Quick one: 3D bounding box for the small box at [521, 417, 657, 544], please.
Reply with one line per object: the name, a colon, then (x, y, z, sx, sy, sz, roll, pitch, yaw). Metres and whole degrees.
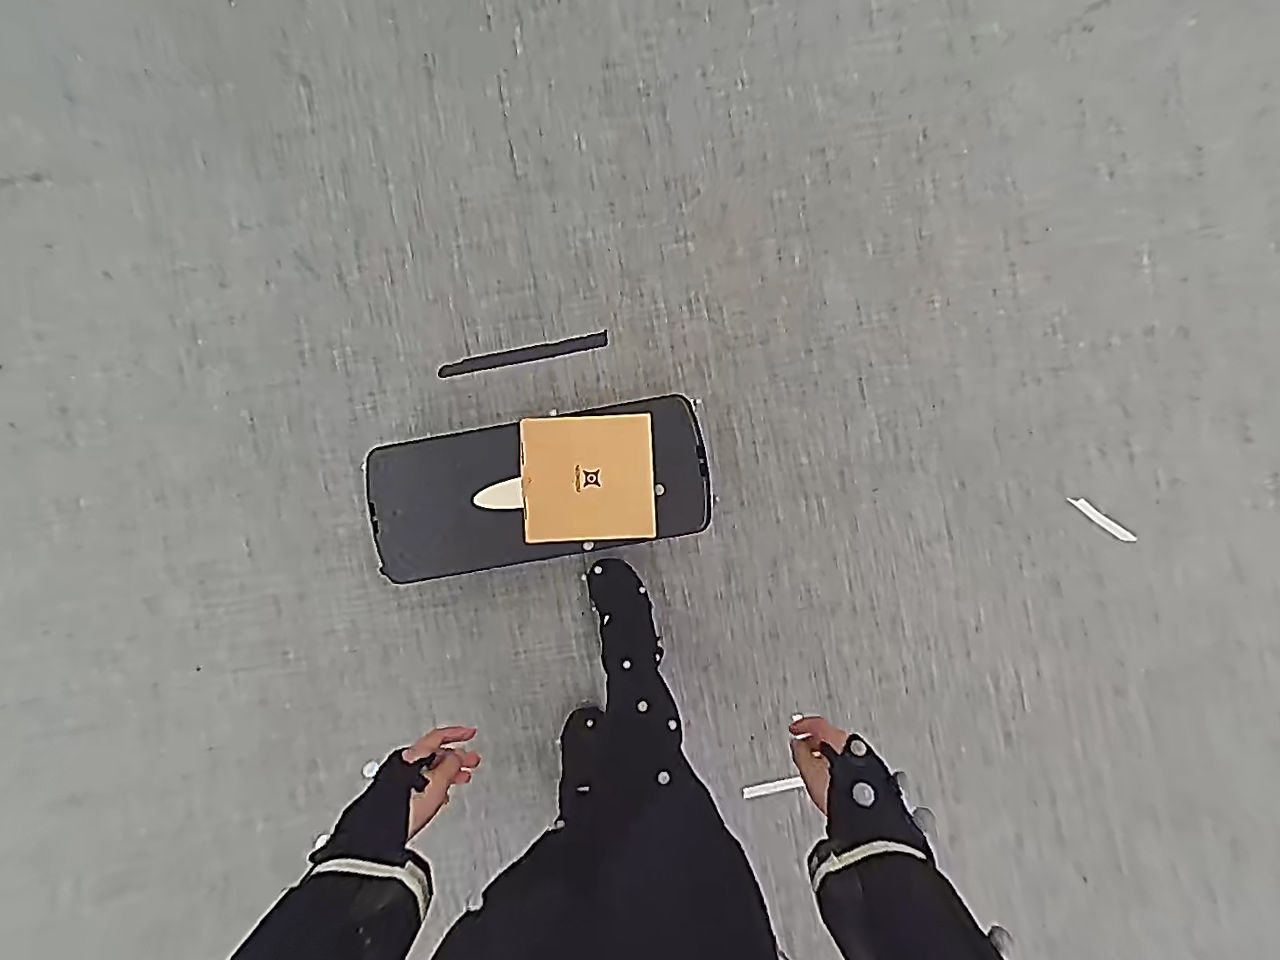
small box: (-0.067, -0.002, 0.792, 0.179, 0.176, 0.168, -3, 91, 1)
